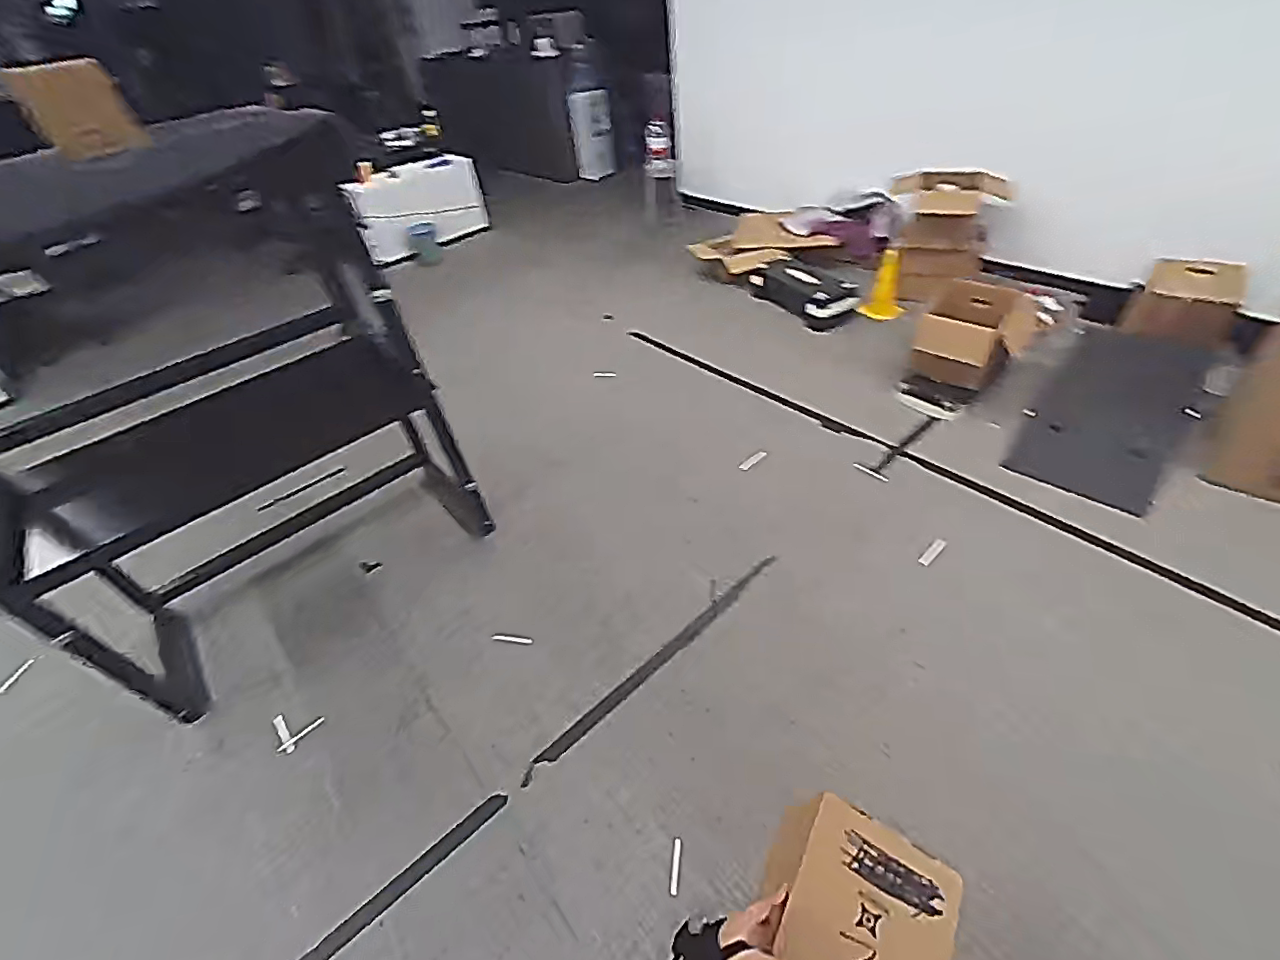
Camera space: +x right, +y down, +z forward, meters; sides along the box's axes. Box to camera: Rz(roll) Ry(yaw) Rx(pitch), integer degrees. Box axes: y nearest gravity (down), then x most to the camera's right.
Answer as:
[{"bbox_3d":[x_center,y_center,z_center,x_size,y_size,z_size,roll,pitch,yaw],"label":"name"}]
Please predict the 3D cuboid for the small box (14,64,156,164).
[{"bbox_3d":[-1.287,-0.857,1.268,0.168,0.176,0.179,-32,48,-23],"label":"small box"}]
